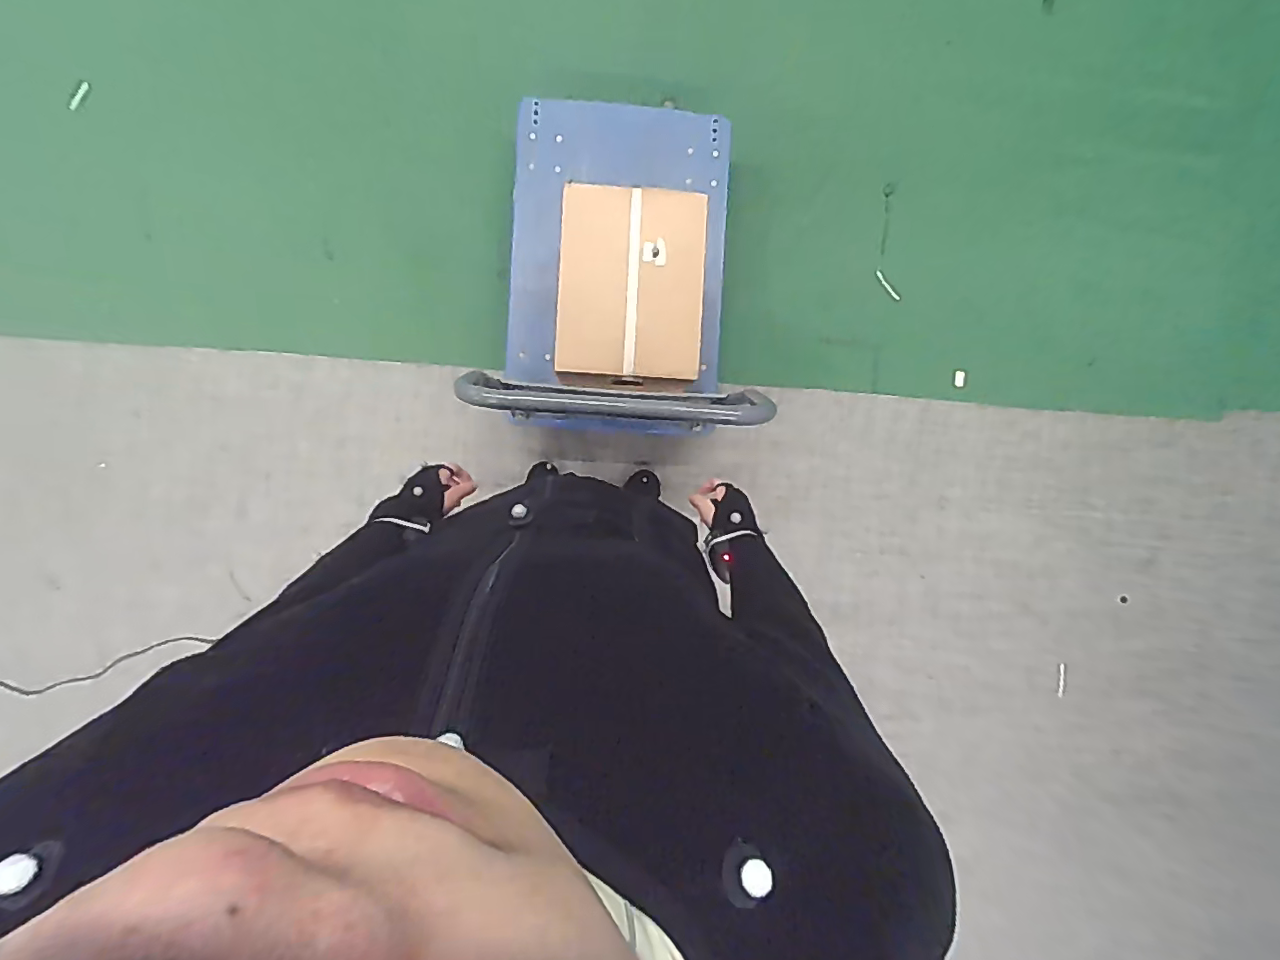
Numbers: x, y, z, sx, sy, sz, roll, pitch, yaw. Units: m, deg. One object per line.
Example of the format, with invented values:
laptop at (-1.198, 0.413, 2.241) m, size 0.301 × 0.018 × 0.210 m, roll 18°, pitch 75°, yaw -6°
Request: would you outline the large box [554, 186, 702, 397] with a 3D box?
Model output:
large box at (-0.033, -0.424, 1.311) m, size 0.320 × 0.320 × 0.408 m, roll 3°, pitch 90°, yaw -5°
